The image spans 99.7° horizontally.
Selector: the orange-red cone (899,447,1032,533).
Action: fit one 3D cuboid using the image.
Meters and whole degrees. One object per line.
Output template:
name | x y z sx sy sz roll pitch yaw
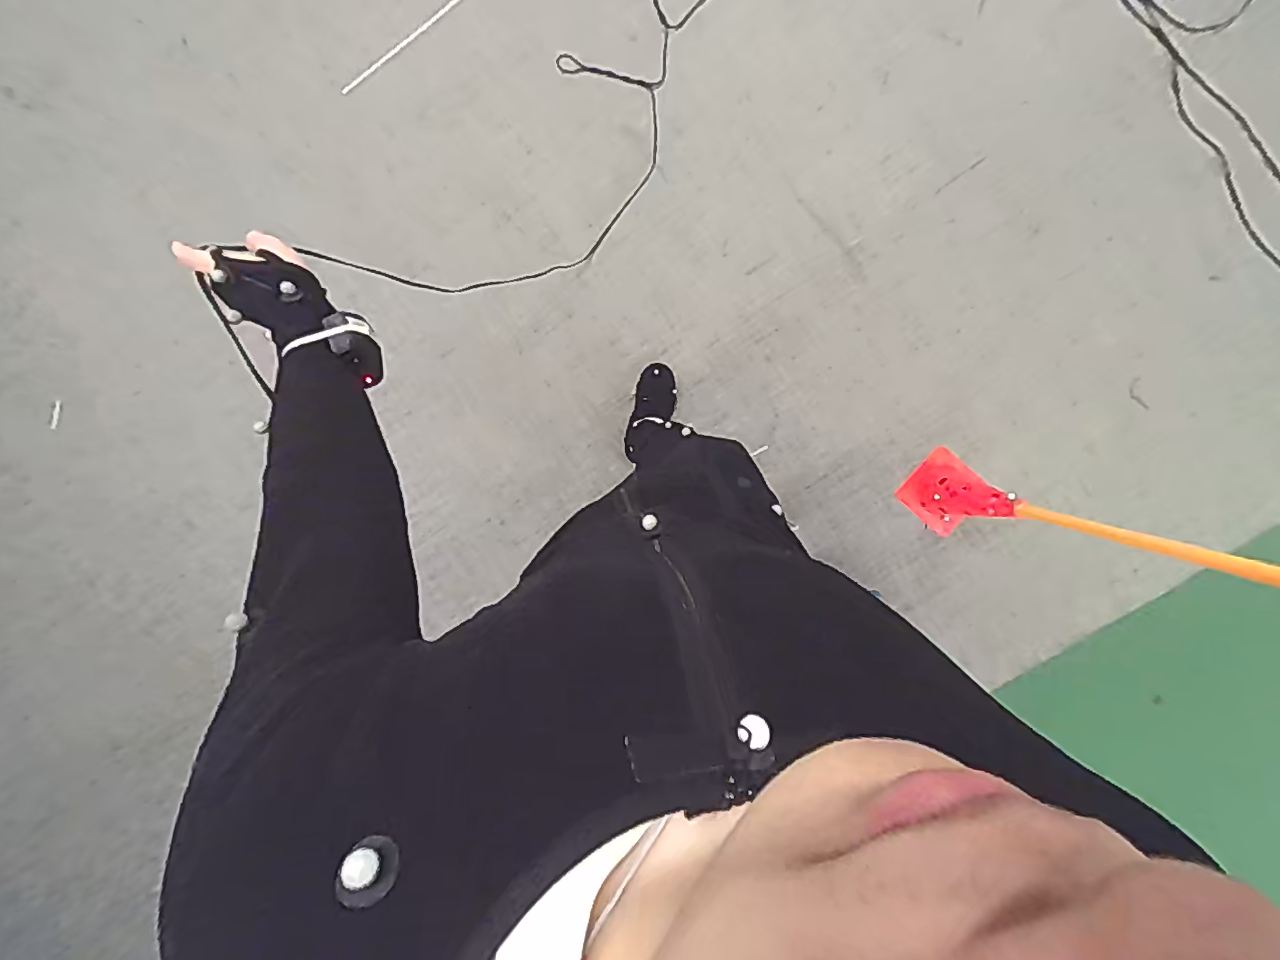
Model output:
orange-red cone | 0.868 0.046 1.388 0.198 0.360 0.199 42 95 -3
